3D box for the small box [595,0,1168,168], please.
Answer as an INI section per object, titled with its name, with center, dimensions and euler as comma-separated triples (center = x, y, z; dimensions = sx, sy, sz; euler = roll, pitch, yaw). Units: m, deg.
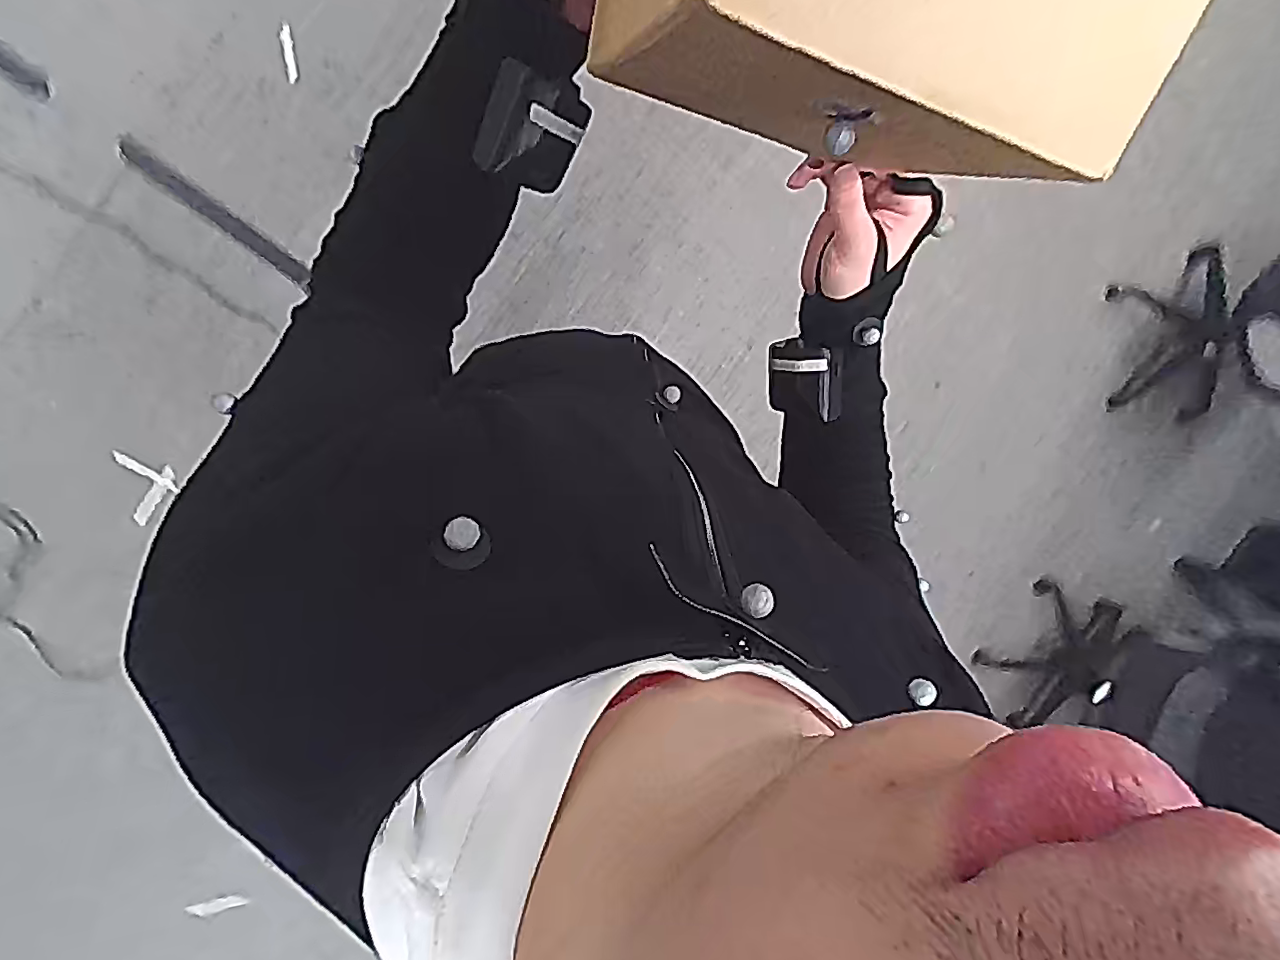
[small box]
center = 0.090, -0.239, 0.213
dimensions = 0.179, 0.176, 0.168
euler = 4, 121, -20
